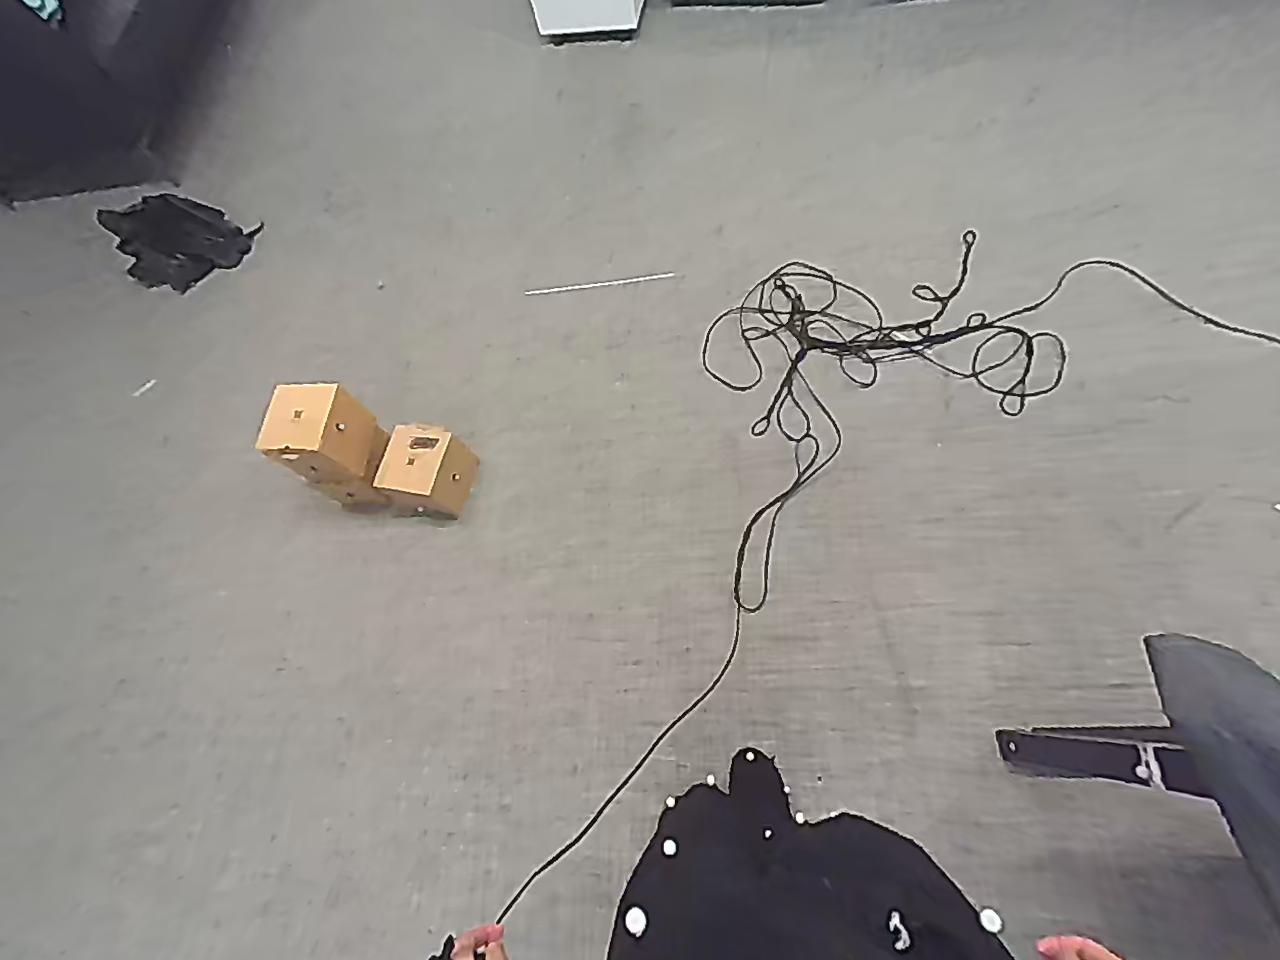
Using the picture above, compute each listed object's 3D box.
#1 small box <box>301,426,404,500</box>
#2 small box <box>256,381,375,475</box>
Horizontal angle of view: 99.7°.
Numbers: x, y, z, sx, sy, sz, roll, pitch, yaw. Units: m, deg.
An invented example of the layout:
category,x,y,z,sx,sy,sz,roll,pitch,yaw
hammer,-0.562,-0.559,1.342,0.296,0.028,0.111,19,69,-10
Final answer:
category,x,y,z,sx,sy,sz,roll,pitch,yaw
small box,-0.773,-0.050,1.473,0.168,0.176,0.179,0,69,9
small box,-0.783,-0.124,1.327,0.168,0.176,0.179,0,68,8
